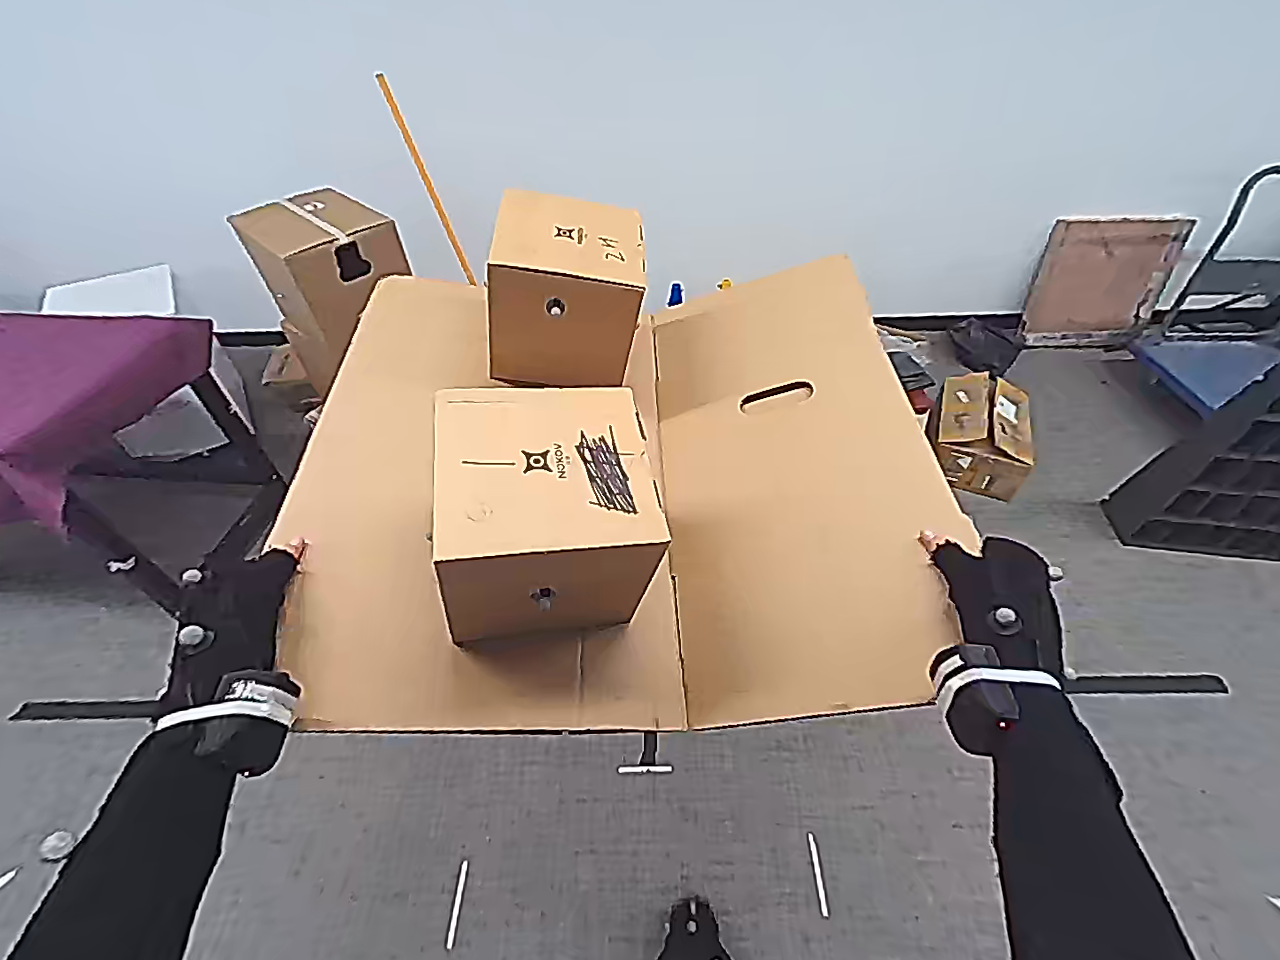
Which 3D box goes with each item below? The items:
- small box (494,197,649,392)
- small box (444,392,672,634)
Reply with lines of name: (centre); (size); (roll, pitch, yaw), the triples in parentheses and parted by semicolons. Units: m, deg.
small box: (-0.091, -0.235, 0.710); (0.179, 0.176, 0.168); (6, 54, -10)
small box: (-0.087, 0.034, 0.516); (0.179, 0.176, 0.168); (-3, 56, -15)
